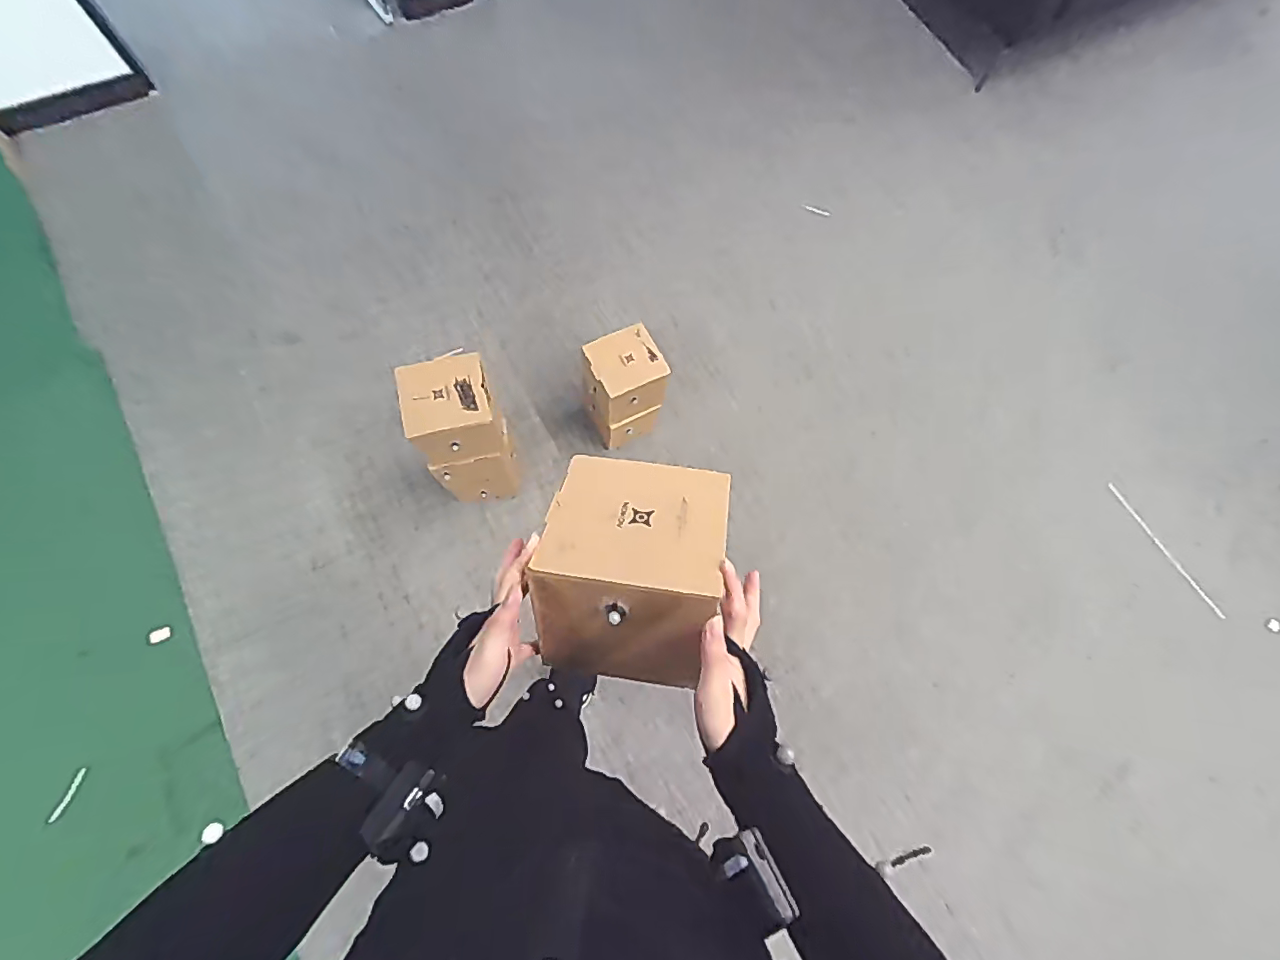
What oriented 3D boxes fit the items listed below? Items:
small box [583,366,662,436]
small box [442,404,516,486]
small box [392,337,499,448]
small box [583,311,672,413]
[{"bbox_3d":[-0.051,-0.245,1.556,0.168,0.176,0.179,-25,76,-12],"label":"small box"},{"bbox_3d":[-0.435,-0.088,1.473,0.168,0.176,0.179,-5,73,-7],"label":"small box"},{"bbox_3d":[-0.407,-0.182,1.160,0.179,0.176,0.168,-12,74,-7],"label":"small box"},{"bbox_3d":[-0.035,-0.299,1.401,0.179,0.176,0.168,-24,76,-10],"label":"small box"}]
